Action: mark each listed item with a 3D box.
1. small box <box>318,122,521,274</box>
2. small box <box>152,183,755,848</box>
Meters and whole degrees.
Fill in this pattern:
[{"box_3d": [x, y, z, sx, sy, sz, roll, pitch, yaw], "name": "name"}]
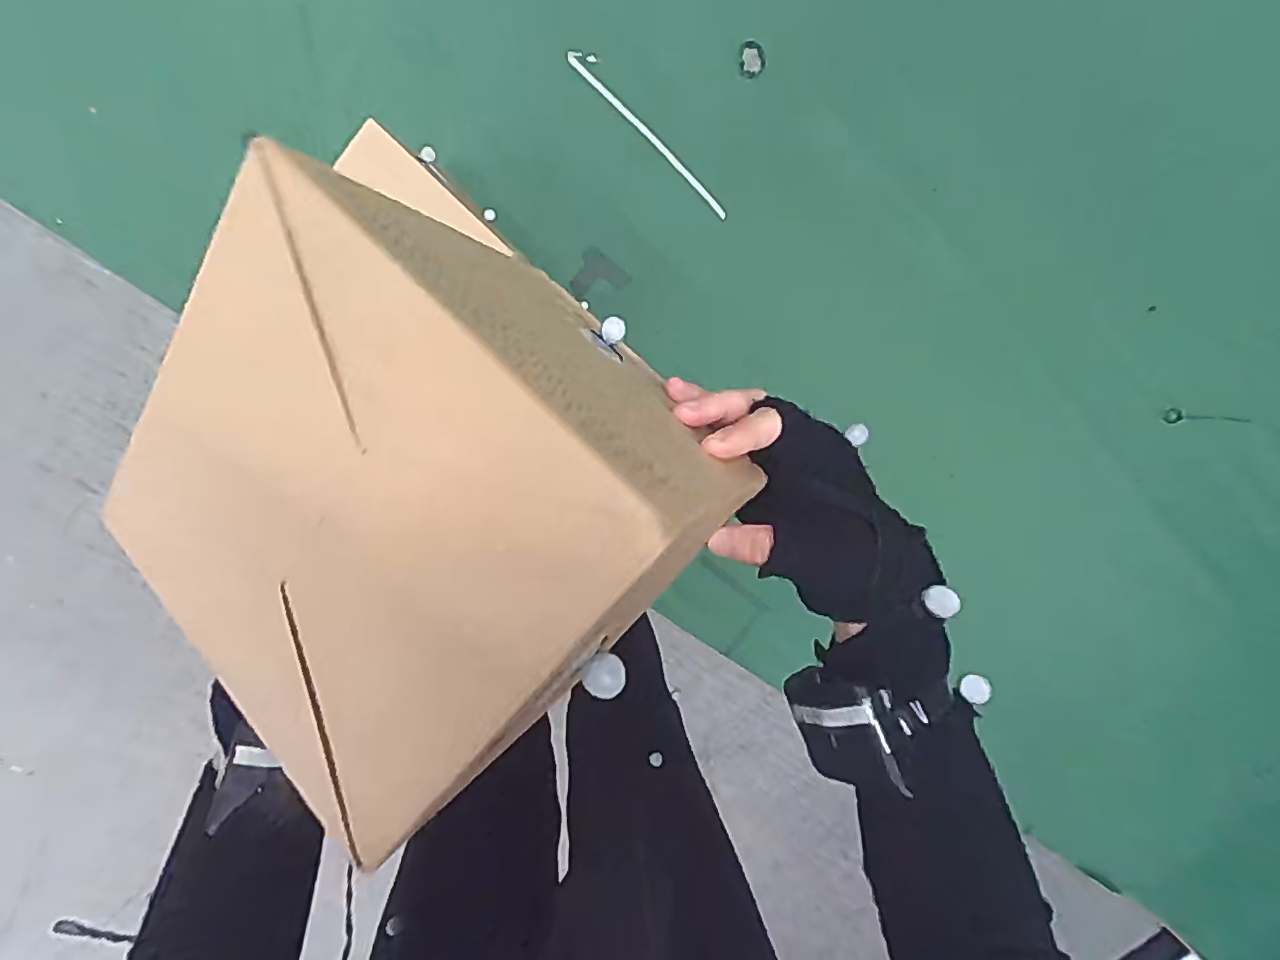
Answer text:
[{"box_3d": [-0.257, -0.254, 0.620, 0.179, 0.176, 0.168, 41, 101, -20], "name": "small box"}, {"box_3d": [-0.076, 0.006, 0.248, 0.179, 0.176, 0.168, 44, 111, 12], "name": "small box"}]
